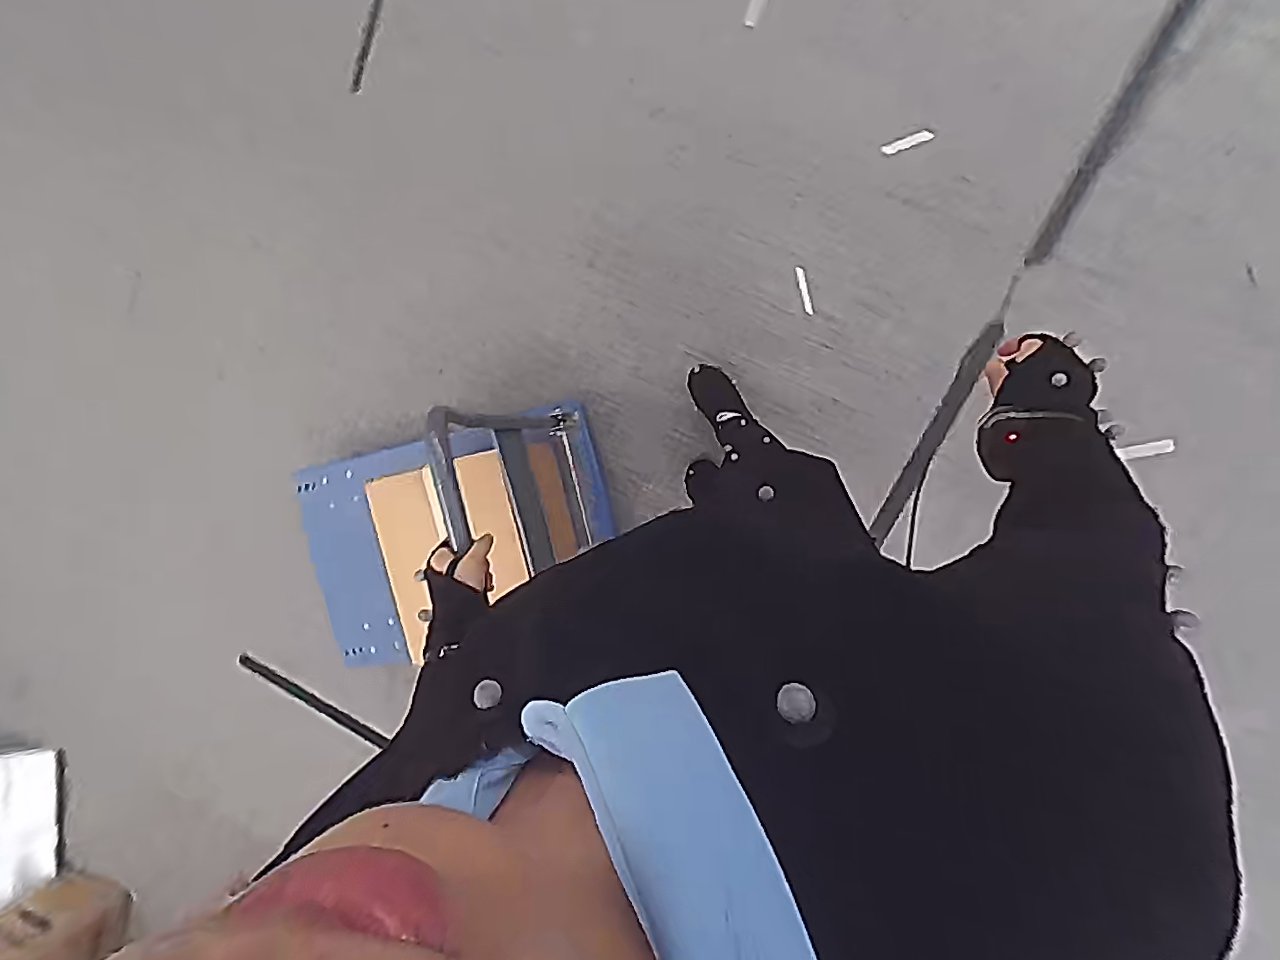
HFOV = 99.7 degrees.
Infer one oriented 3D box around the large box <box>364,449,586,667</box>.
[{"bbox_3d":[-0.355,0.160,1.251,0.320,0.320,0.408,-13,93,12],"label":"large box"}]
